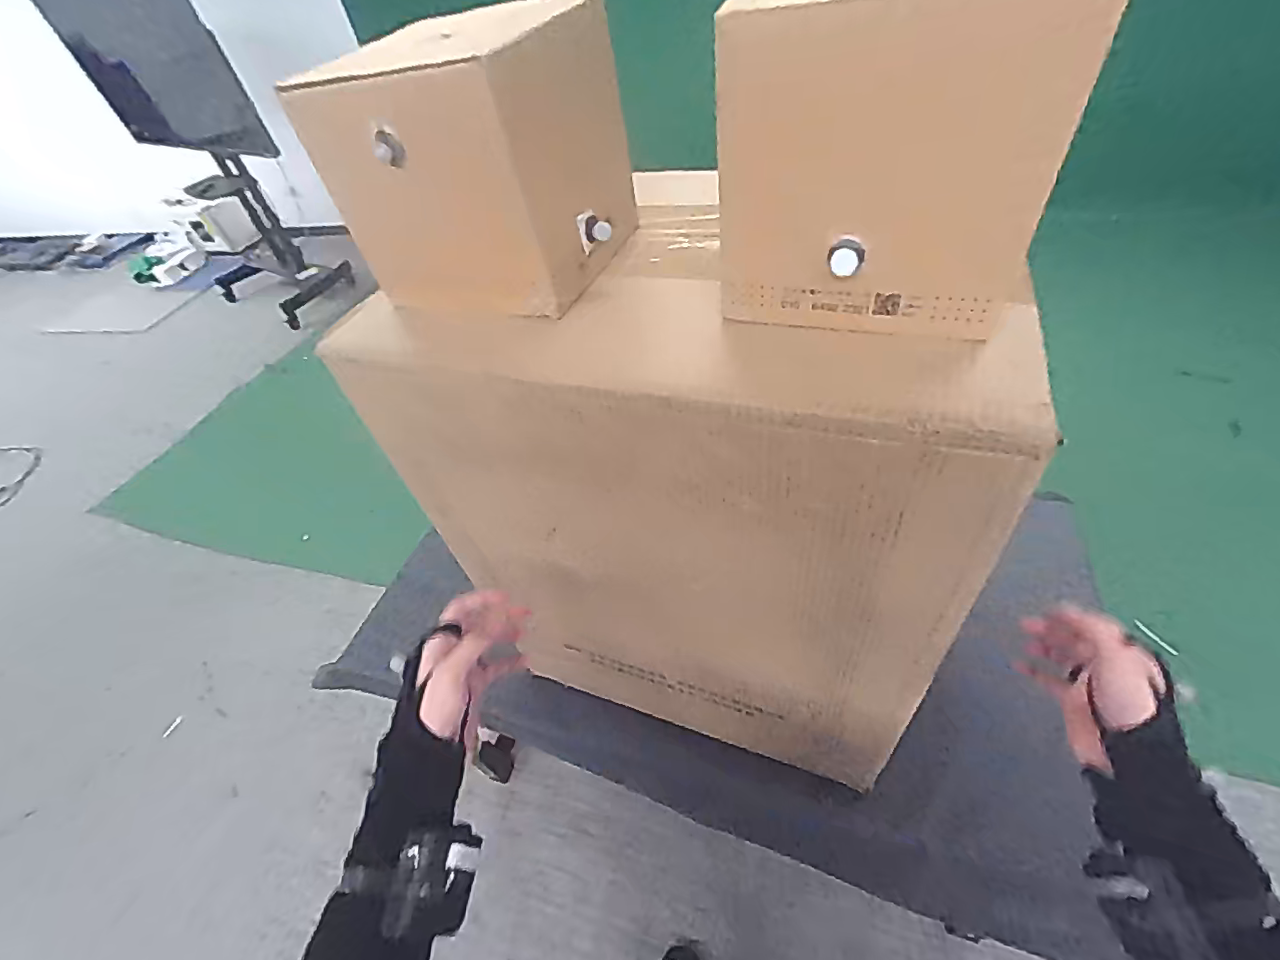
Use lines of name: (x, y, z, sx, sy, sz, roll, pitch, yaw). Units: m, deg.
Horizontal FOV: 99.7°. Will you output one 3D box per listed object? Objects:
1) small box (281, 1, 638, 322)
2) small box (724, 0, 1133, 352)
small box: (-0.118, -0.244, 0.430, 0.179, 0.176, 0.168, 12, 53, 21)
small box: (0.153, -0.207, 0.340, 0.168, 0.176, 0.179, 12, 53, 19)
